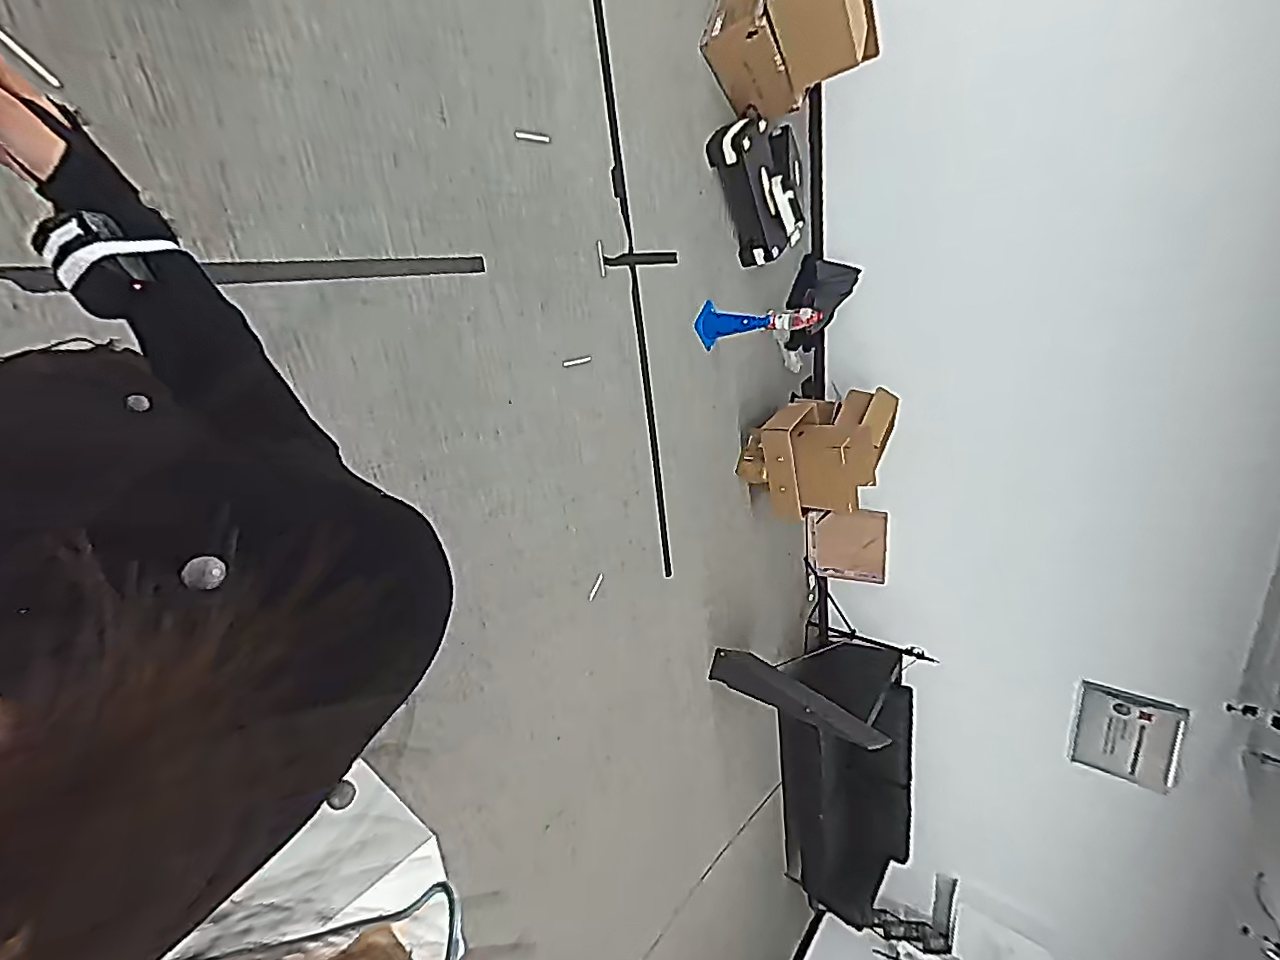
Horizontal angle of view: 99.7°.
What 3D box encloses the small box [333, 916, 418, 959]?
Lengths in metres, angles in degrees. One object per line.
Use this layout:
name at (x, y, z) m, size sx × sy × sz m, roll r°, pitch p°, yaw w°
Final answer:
small box at (-0.551, 1.069, 1.117) m, size 0.179 × 0.176 × 0.168 m, roll -33°, pitch 121°, yaw -42°
